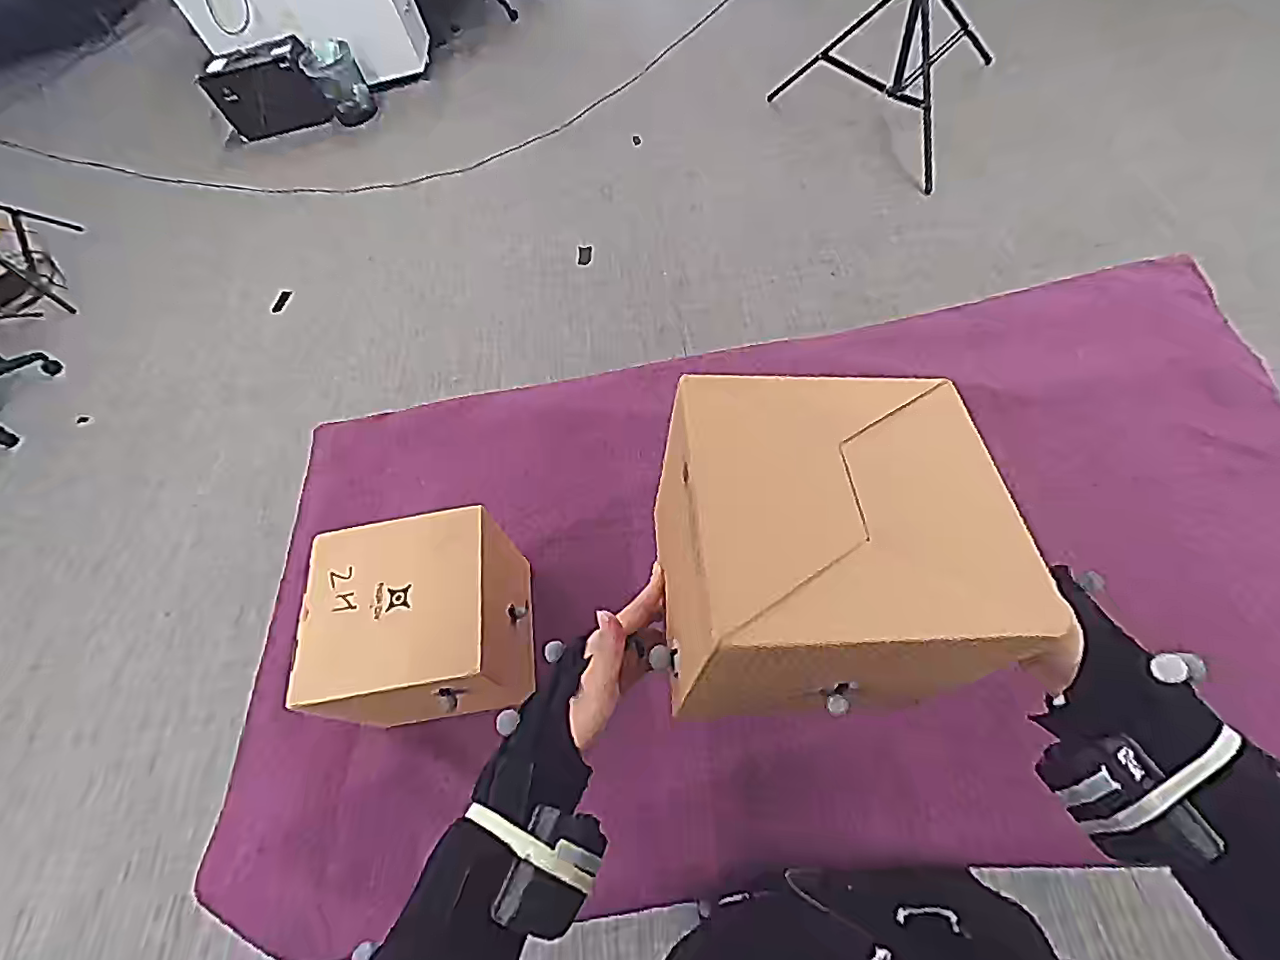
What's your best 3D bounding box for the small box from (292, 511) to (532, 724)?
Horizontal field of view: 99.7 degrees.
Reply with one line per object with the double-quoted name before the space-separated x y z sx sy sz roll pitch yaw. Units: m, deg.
"small box" -0.218 0.152 0.574 0.179 0.176 0.168 -10 59 2
